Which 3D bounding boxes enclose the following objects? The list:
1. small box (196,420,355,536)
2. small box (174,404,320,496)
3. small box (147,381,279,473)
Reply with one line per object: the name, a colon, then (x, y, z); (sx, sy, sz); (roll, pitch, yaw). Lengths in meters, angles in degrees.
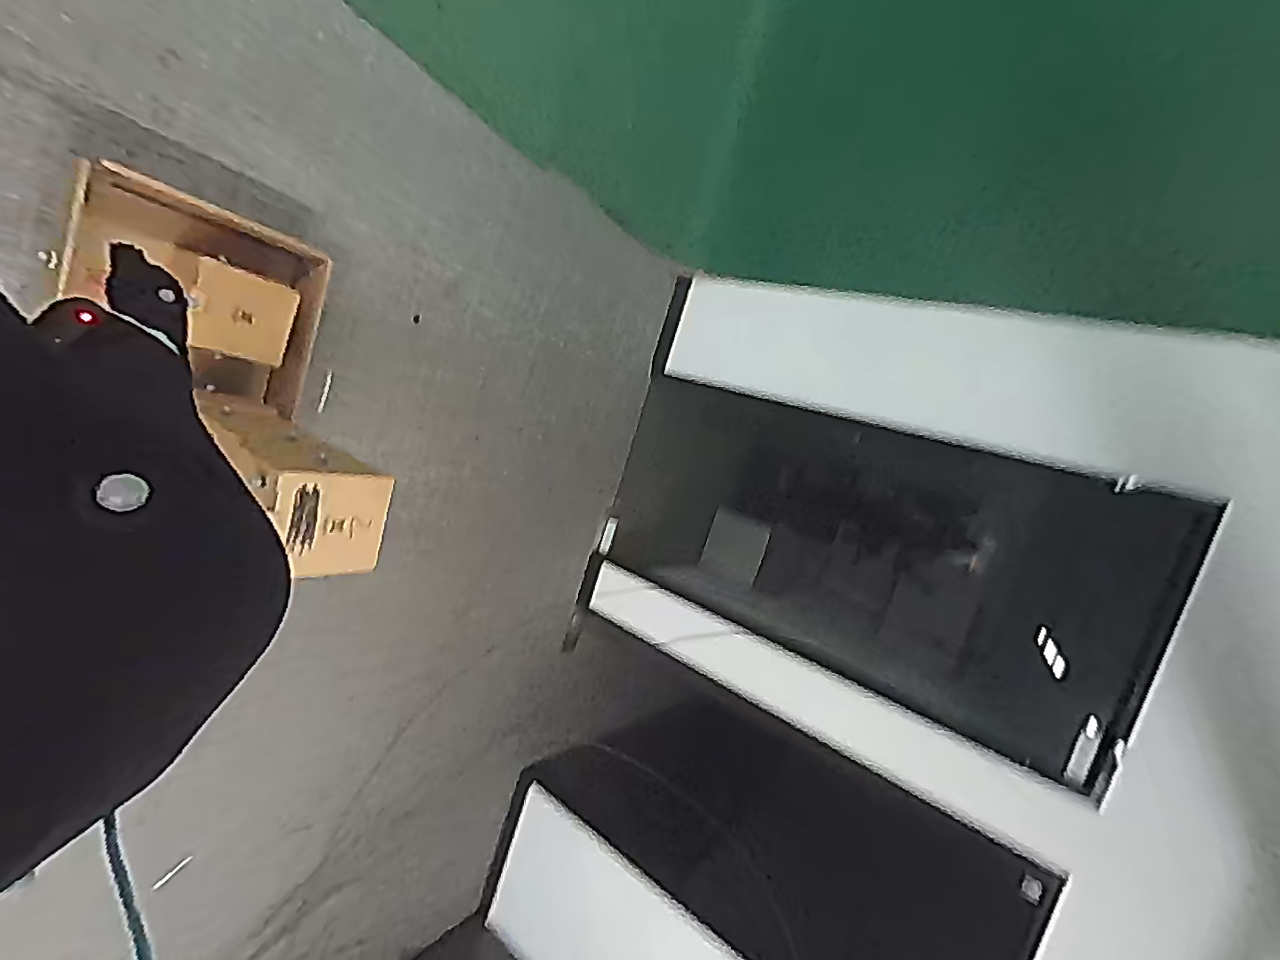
small box: (-0.664, -0.004, 0.984); (0.179, 0.176, 0.168); (10, 99, -58)
small box: (-0.778, -0.044, 1.067); (0.179, 0.176, 0.168); (9, 99, -58)
small box: (-0.919, -0.110, 1.161); (0.179, 0.176, 0.168); (1, 105, -57)
